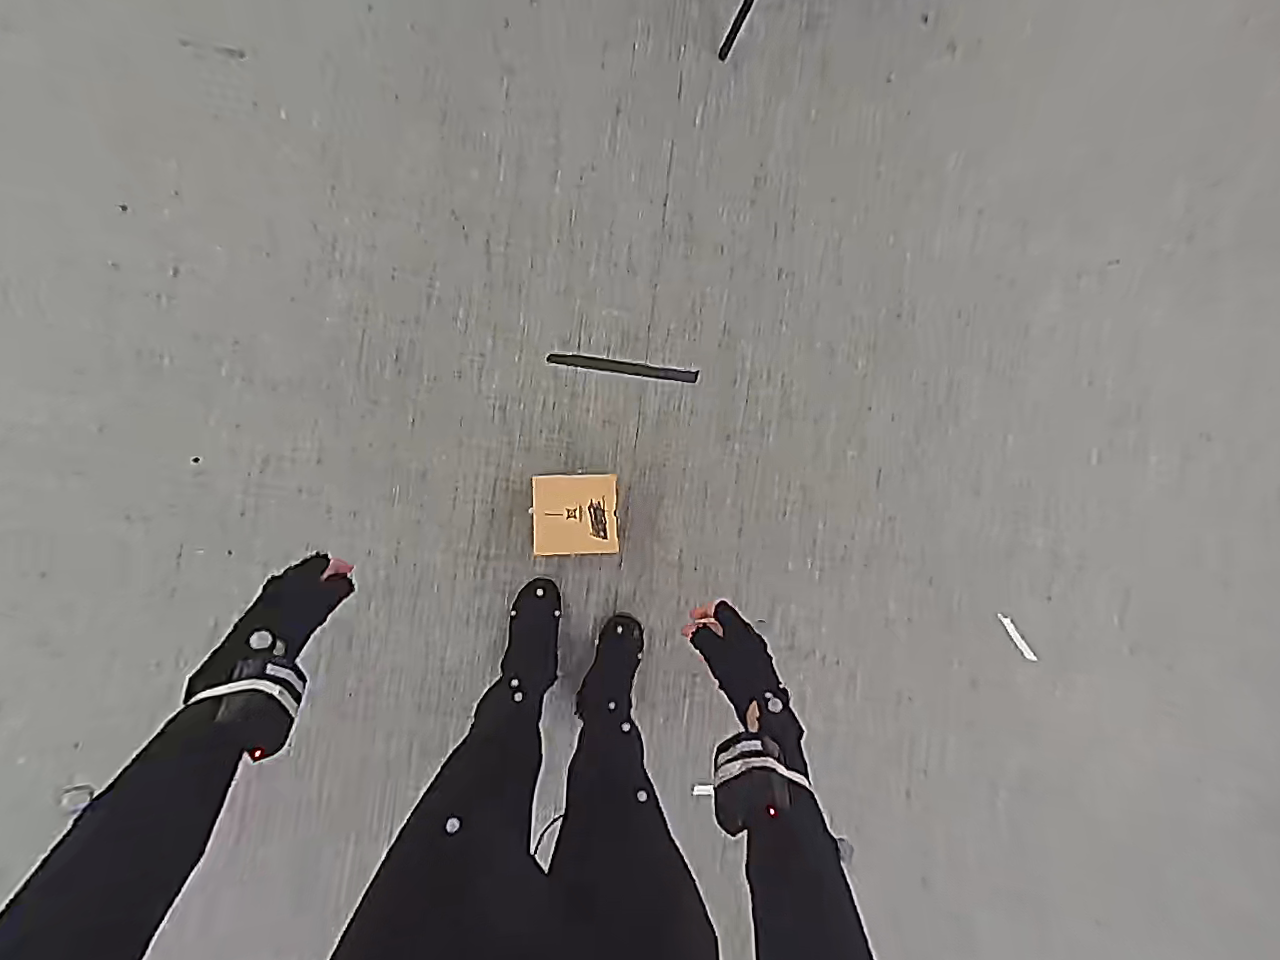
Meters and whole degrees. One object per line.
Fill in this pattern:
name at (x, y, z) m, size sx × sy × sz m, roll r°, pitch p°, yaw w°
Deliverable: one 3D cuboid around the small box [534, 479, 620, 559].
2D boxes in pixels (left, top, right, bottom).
small box at (-0.139, 0.082, 1.190) m, size 0.179 × 0.176 × 0.168 m, roll -1°, pitch 88°, yaw -7°
